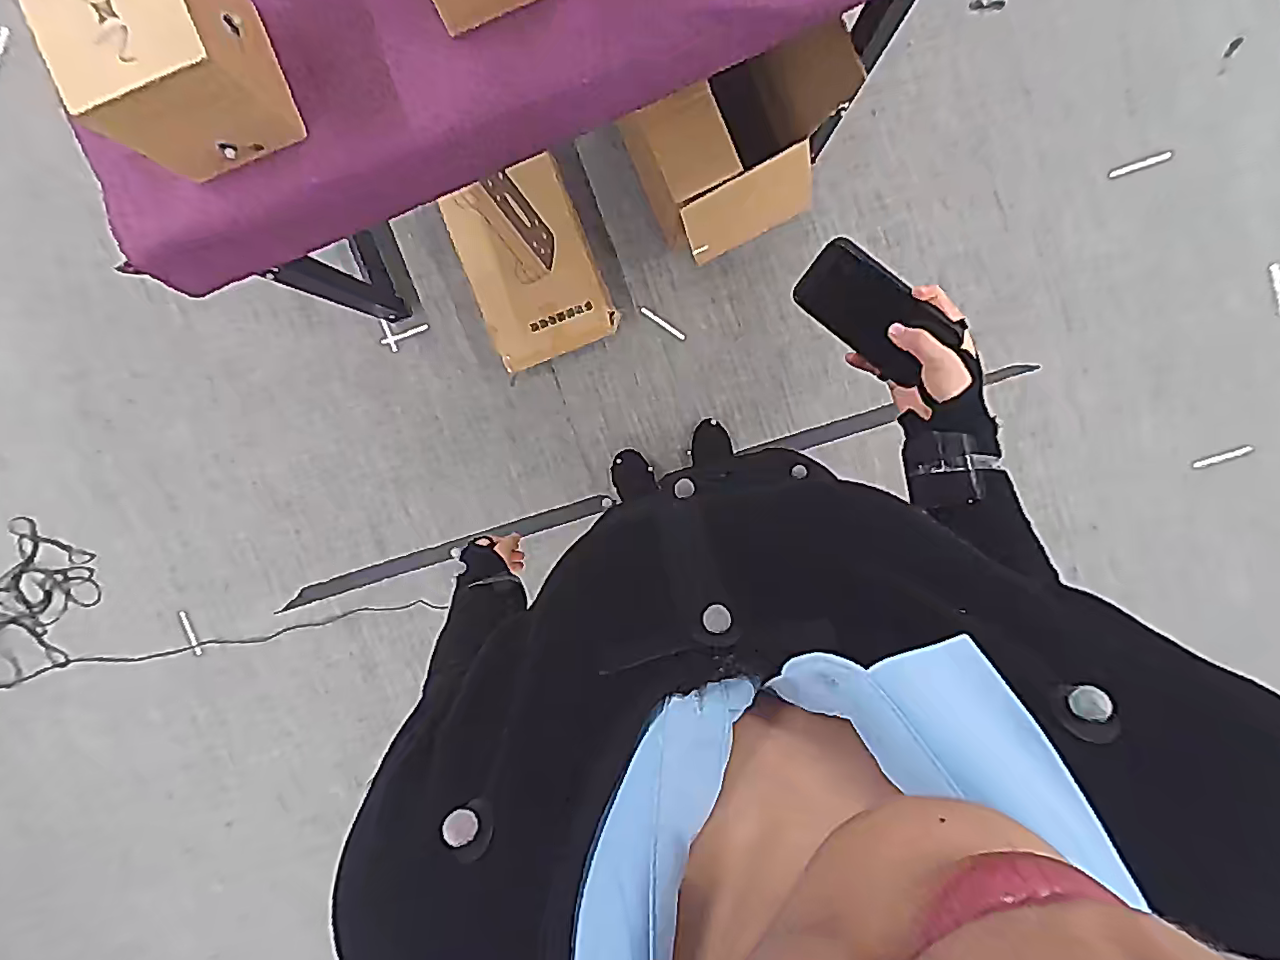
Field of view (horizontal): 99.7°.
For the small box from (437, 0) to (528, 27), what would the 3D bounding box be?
[{"bbox_3d":[-0.187,-0.667,0.597,0.179,0.176,0.168,-21,94,4],"label":"small box"}]
